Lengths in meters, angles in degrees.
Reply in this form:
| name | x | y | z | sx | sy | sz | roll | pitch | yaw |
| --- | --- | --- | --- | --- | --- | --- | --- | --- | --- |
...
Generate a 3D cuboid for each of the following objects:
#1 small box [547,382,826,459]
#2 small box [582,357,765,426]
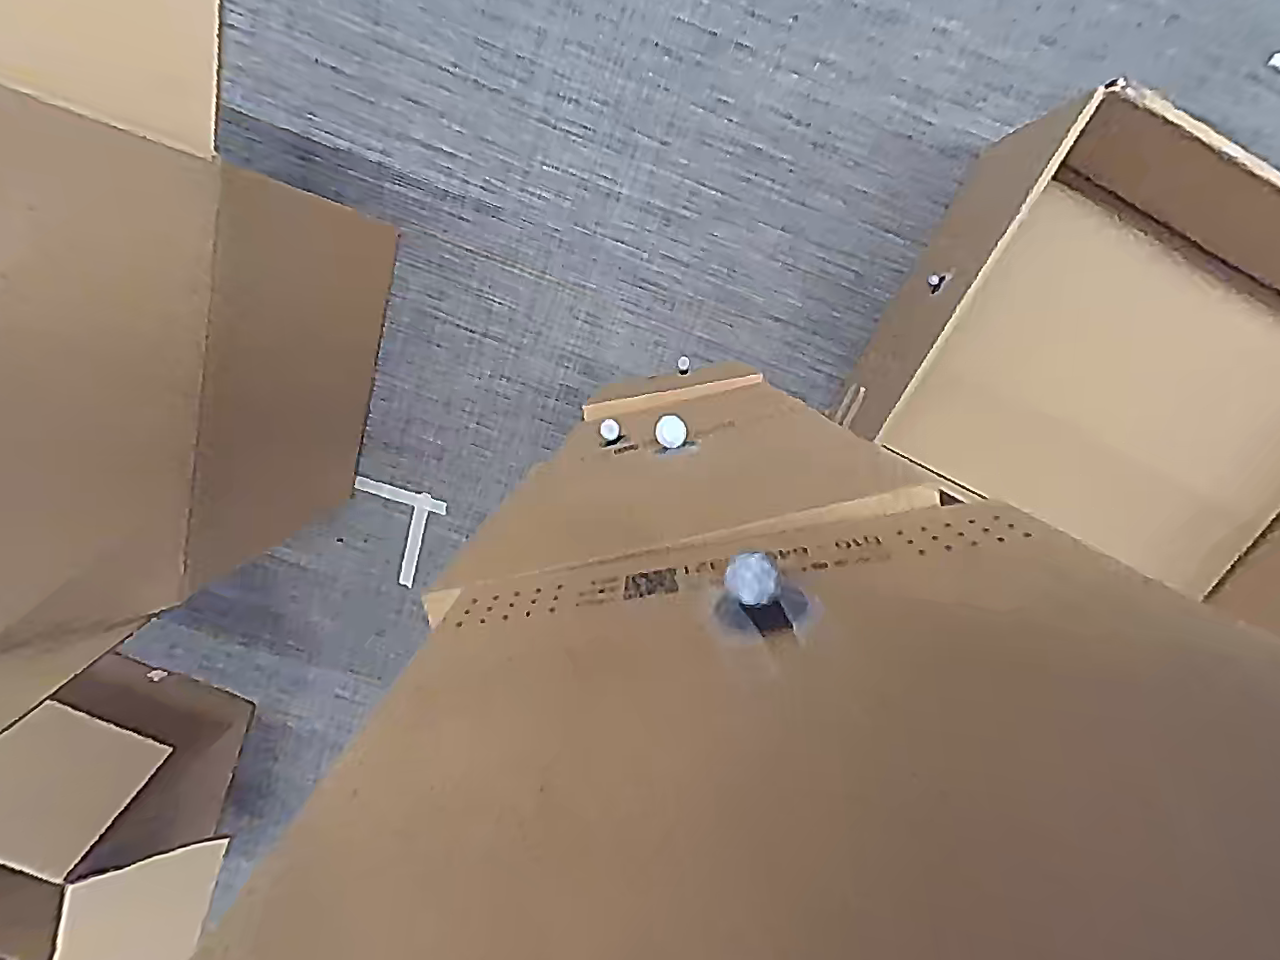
| name | x | y | z | sx | sy | sz | roll | pitch | yaw |
| --- | --- | --- | --- | --- | --- | --- | --- | --- | --- |
| small box | 0.043 | 0.029 | 0.418 | 0.179 | 0.176 | 0.168 | -12 | 106 | 5 |
| small box | 0.049 | -0.024 | 0.575 | 0.168 | 0.176 | 0.179 | -9 | 106 | 7 |
